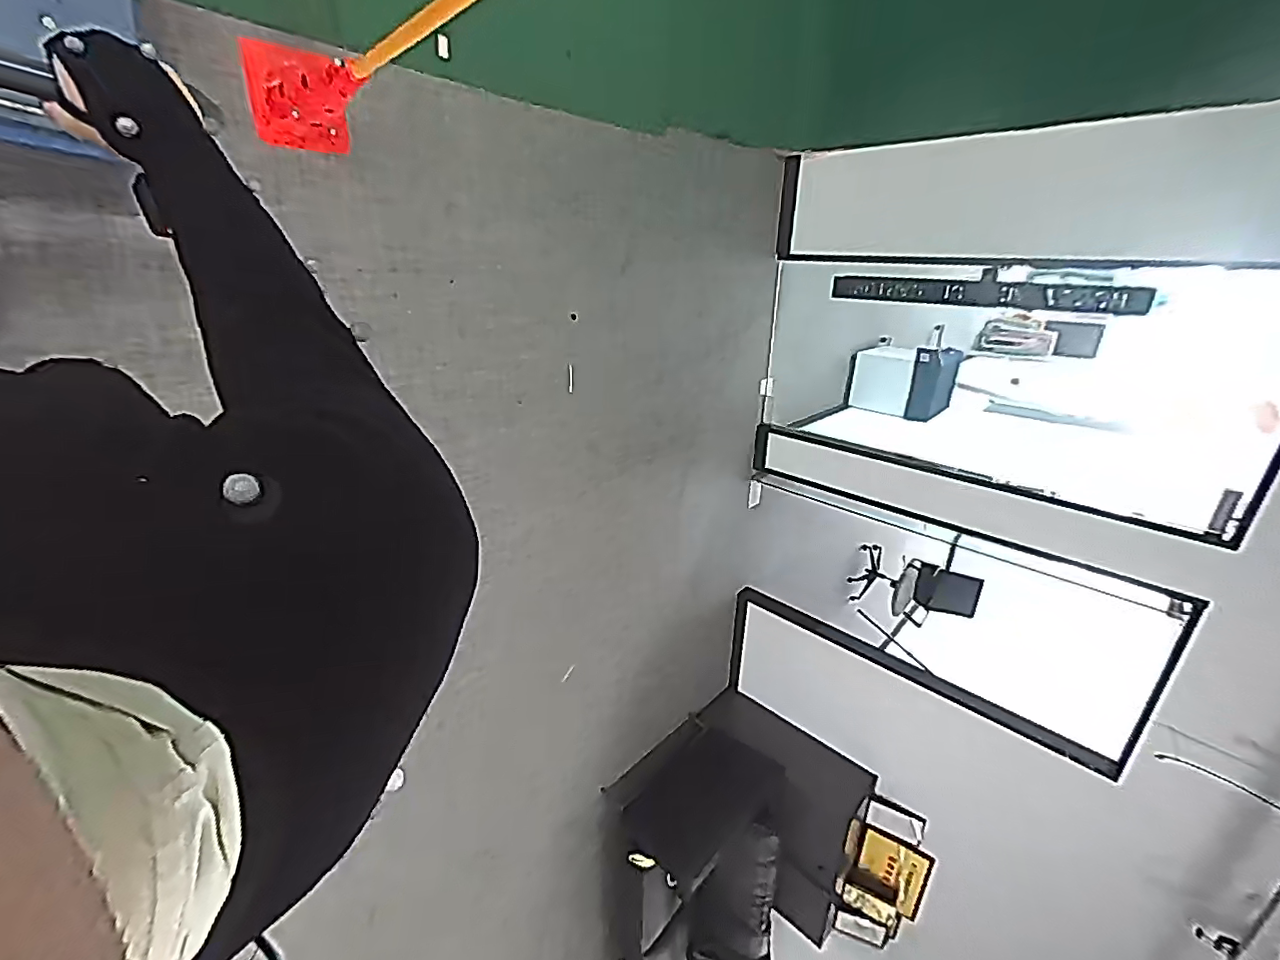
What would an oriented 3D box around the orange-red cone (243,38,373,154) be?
[{"bbox_3d":[-0.656,-0.831,1.136,0.198,0.360,0.199,-21,120,-43],"label":"orange-red cone"}]
